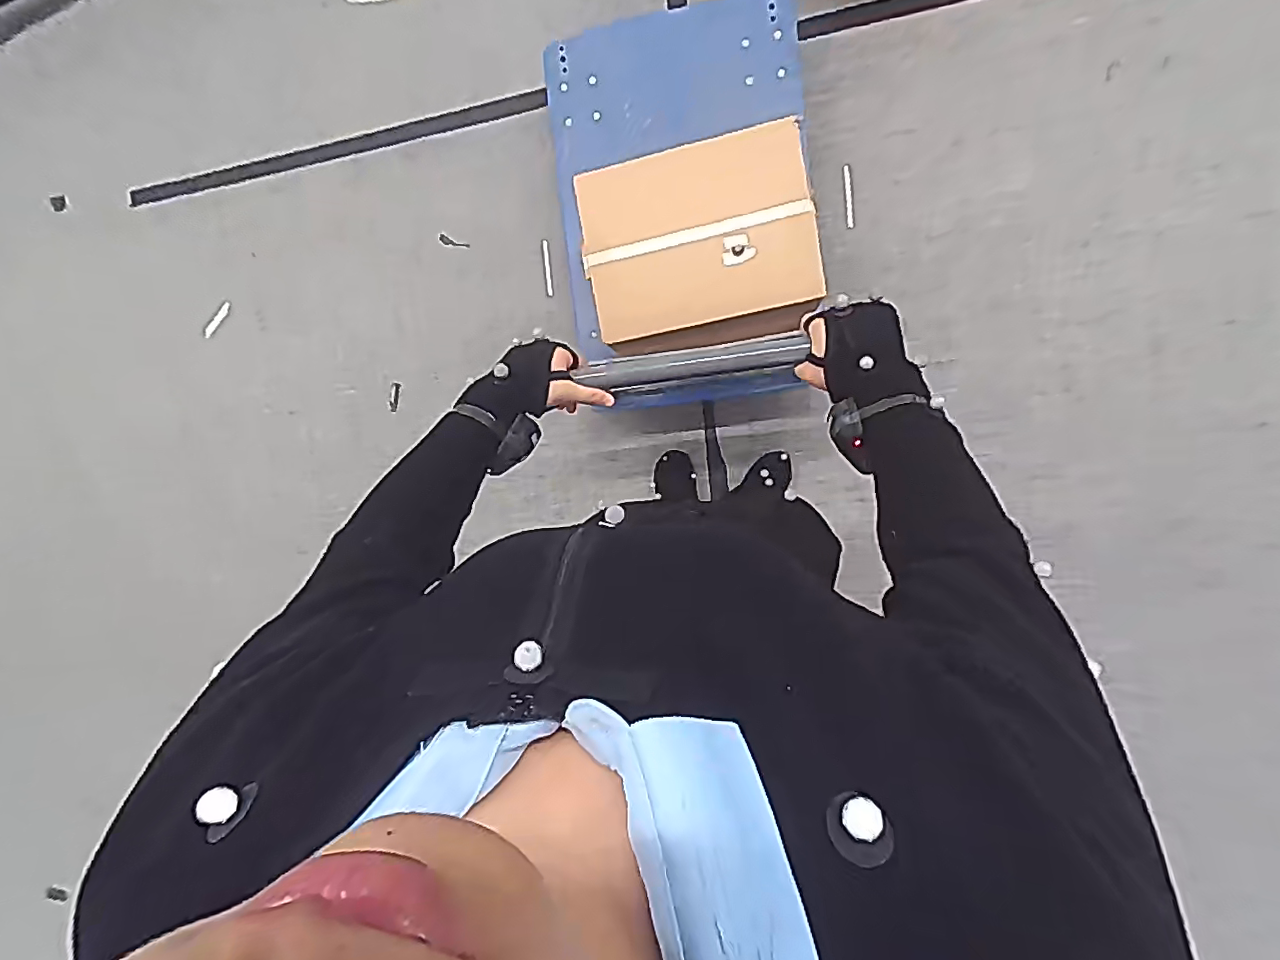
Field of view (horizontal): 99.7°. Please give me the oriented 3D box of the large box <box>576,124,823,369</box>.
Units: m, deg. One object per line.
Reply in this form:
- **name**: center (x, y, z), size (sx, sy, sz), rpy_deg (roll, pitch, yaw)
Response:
- **large box**: center (0.121, -0.441, 1.117), size (0.408, 0.320, 0.320), rpy_deg (-10, 93, 8)
